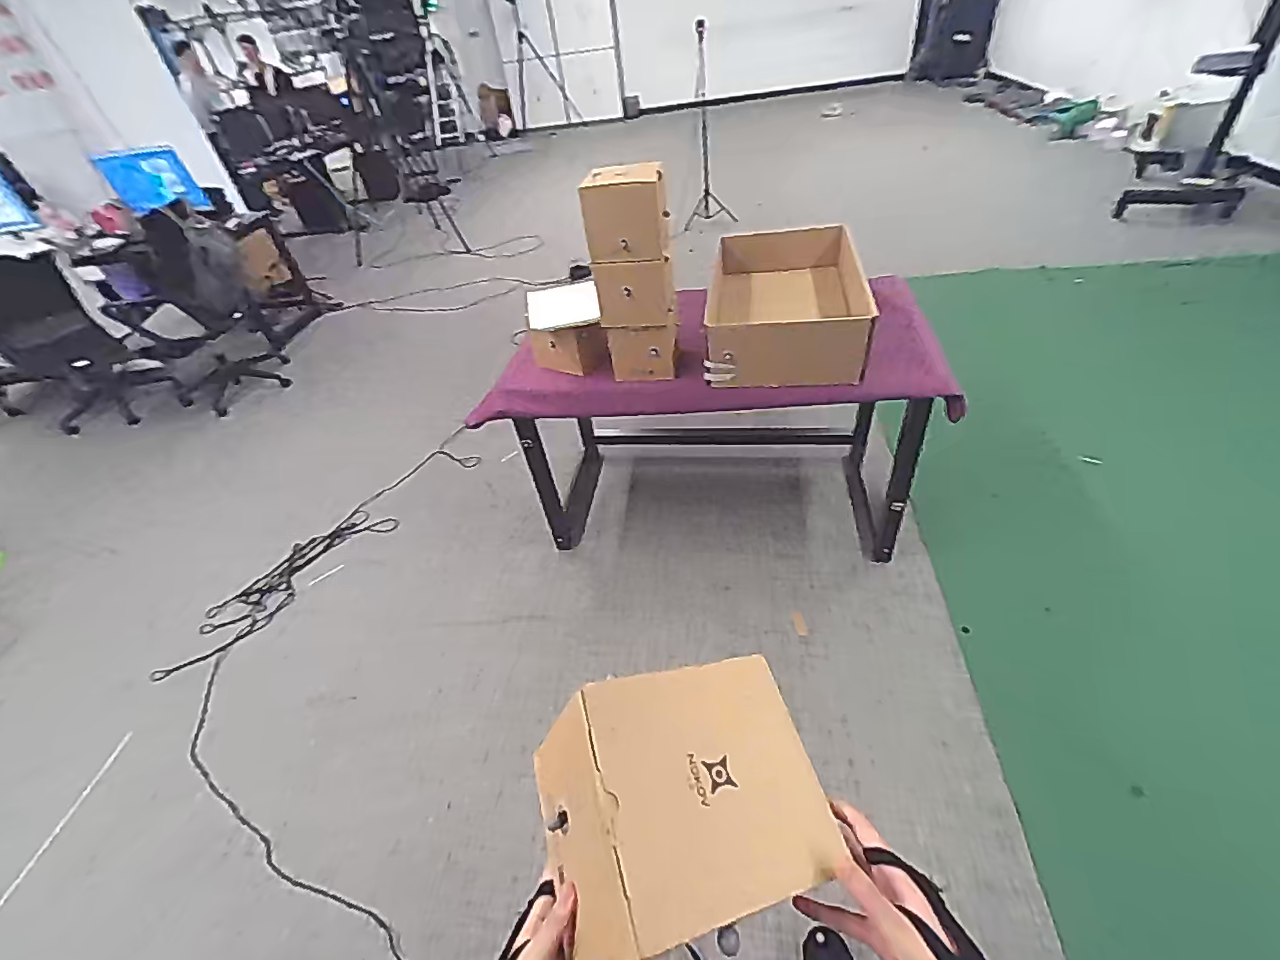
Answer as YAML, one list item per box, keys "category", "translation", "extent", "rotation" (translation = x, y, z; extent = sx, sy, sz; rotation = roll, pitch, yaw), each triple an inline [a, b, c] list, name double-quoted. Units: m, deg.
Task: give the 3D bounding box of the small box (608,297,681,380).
- category: "small box"
  translation: [0.020, -0.388, 1.497]
  extent: [0.168, 0.176, 0.179]
  rotation: [1, 42, 11]

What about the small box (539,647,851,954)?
- category: "small box"
  translation: [0.028, 0.263, 0.455]
  extent: [0.179, 0.176, 0.168]
  rotation: [-2, 51, -26]

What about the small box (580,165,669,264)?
- category: "small box"
  translation: [-0.028, -0.624, 1.275]
  extent: [0.179, 0.176, 0.168]
  rotation: [2, 41, 11]

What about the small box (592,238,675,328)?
- category: "small box"
  translation: [-0.008, -0.502, 1.383]
  extent: [0.179, 0.176, 0.168]
  rotation: [1, 42, 12]
